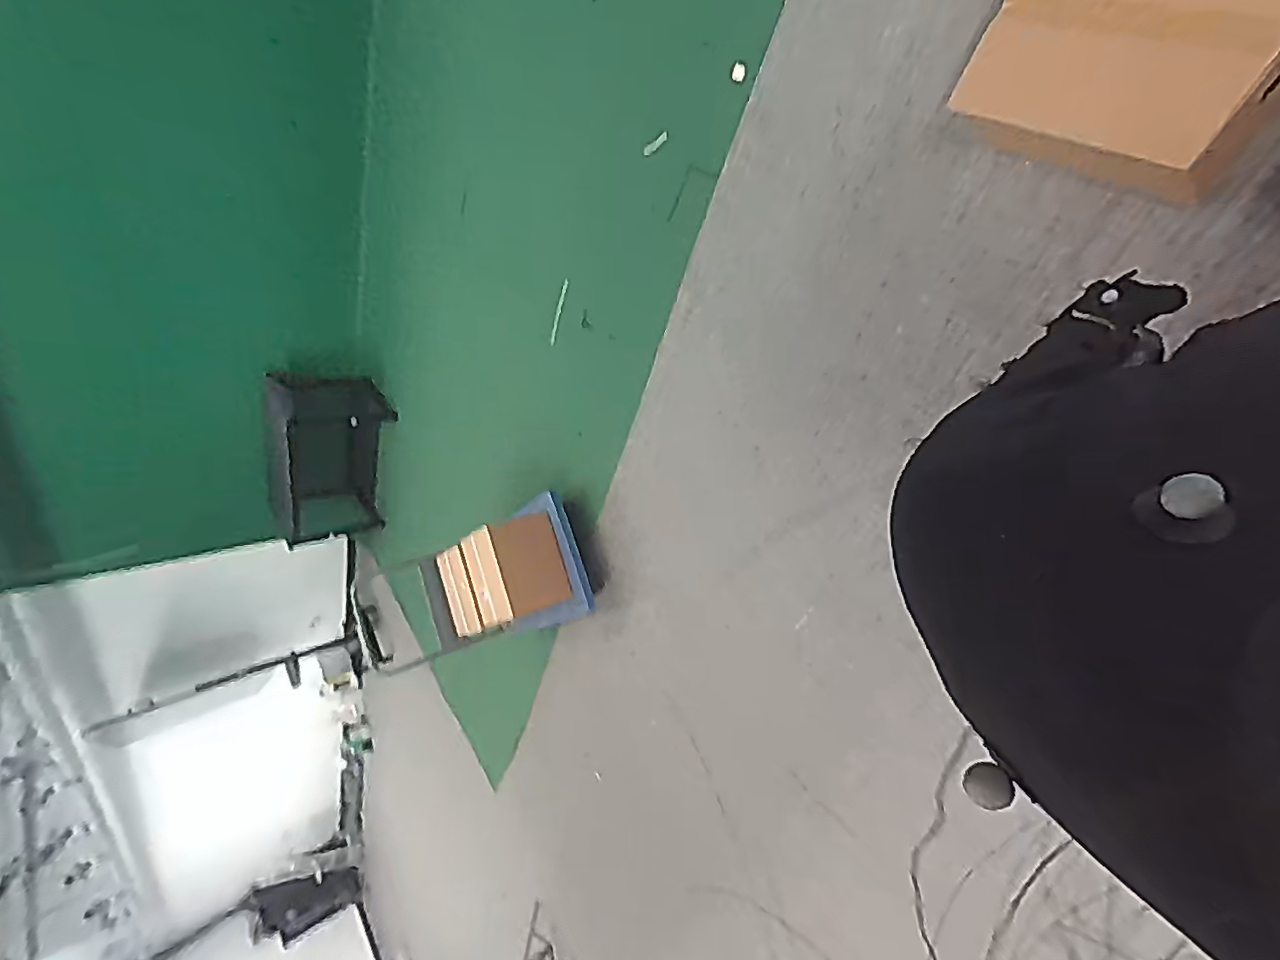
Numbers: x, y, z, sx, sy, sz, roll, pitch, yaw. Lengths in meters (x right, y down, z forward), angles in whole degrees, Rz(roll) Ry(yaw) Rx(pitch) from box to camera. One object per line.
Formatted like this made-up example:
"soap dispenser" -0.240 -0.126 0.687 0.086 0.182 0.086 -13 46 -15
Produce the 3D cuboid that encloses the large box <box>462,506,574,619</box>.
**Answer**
"large box" -0.556 0.371 2.456 0.320 0.320 0.408 -26 81 48
